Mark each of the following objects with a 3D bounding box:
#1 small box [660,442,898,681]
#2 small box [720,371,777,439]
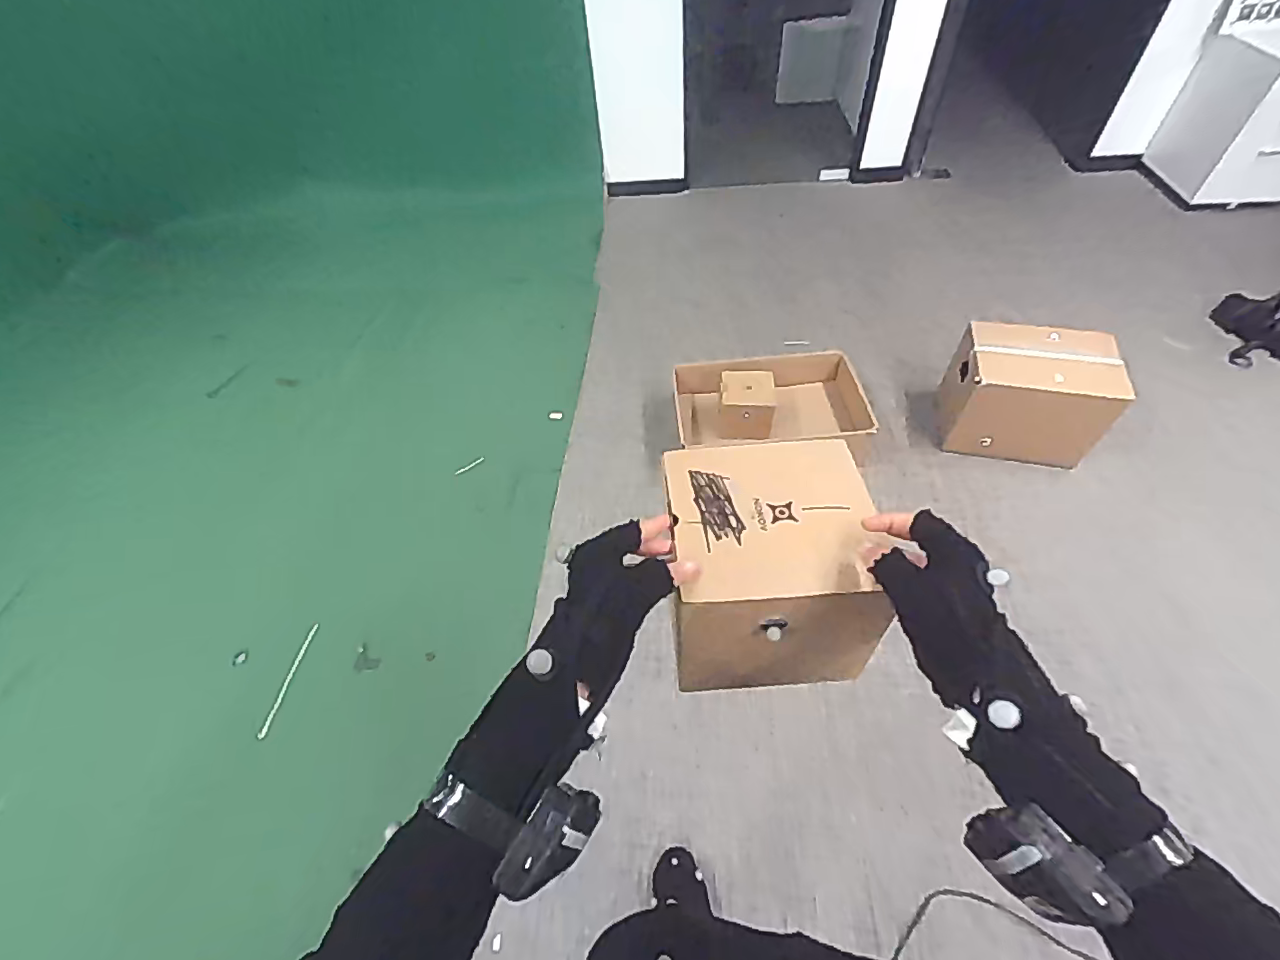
[{"bbox_3d":[0.113,0.082,0.525,0.179,0.176,0.168,-3,47,-1],"label":"small box"},{"bbox_3d":[0.368,-0.255,1.863,0.179,0.176,0.168,2,52,4],"label":"small box"}]
